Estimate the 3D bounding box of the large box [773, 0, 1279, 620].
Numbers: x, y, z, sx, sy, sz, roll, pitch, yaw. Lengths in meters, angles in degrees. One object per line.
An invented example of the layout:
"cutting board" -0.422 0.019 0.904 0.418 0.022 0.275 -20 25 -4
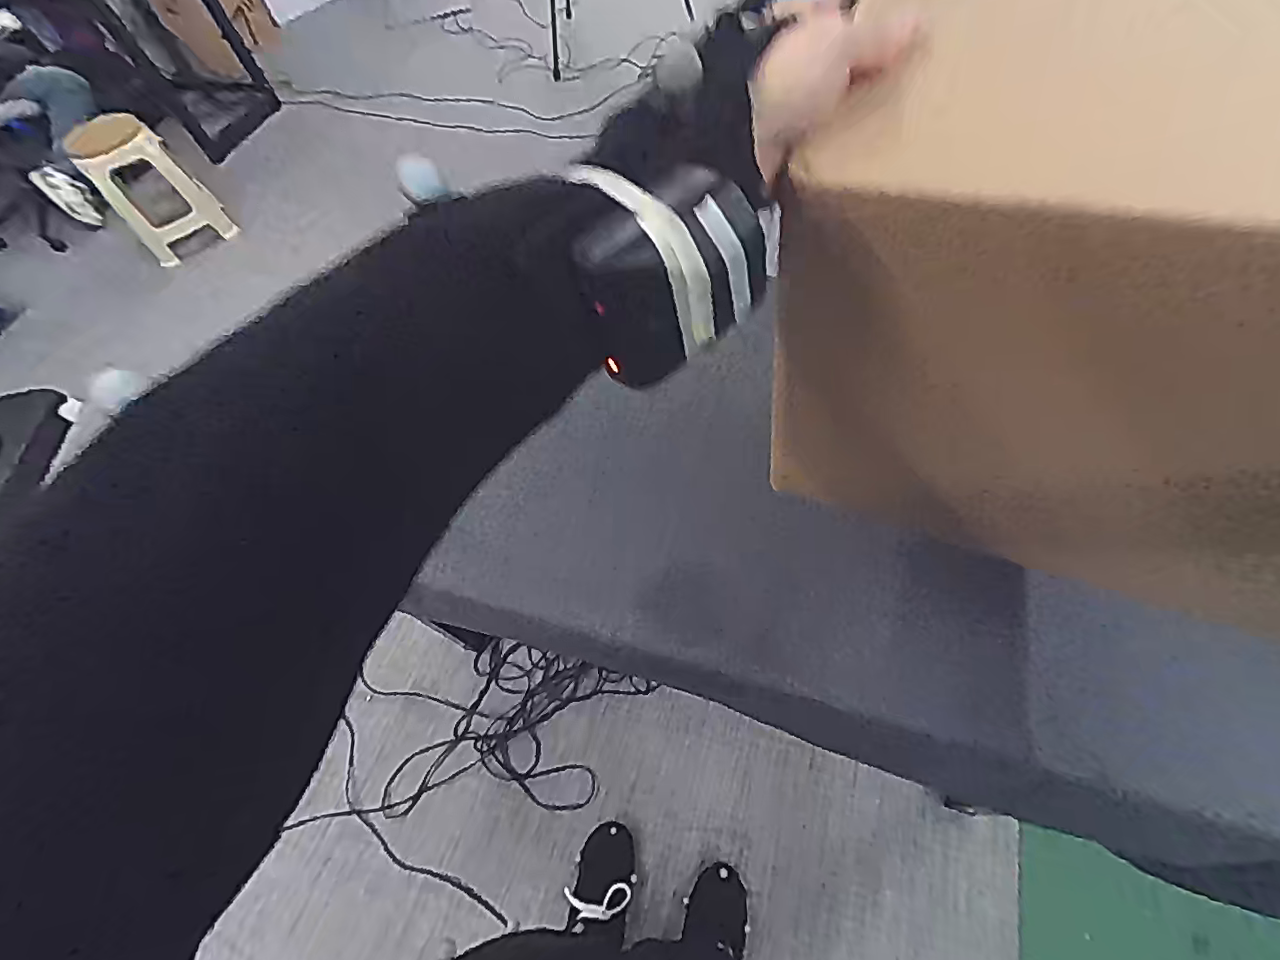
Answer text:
"large box" 0.327 -0.139 0.344 0.408 0.320 0.320 18 70 19
